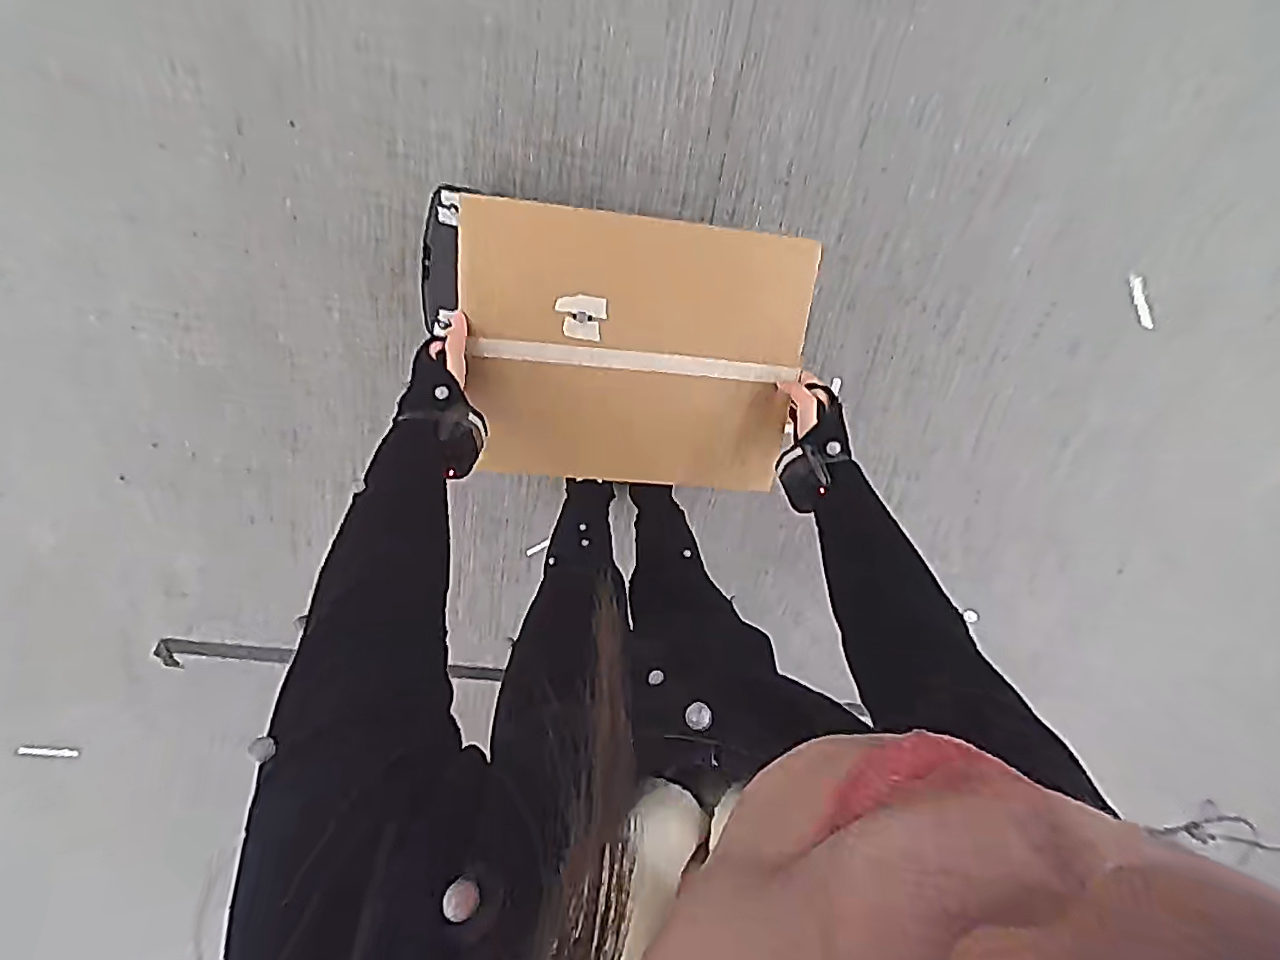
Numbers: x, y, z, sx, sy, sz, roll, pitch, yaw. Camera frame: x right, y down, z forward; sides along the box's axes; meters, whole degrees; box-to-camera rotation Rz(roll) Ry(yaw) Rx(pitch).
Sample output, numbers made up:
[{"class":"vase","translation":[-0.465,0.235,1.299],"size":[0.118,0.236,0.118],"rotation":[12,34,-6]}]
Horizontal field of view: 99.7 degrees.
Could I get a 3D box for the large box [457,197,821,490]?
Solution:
[{"class":"large box","translation":[-0.018,-0.196,0.772],"size":[0.408,0.320,0.320],"rotation":[4,111,-7]}]
